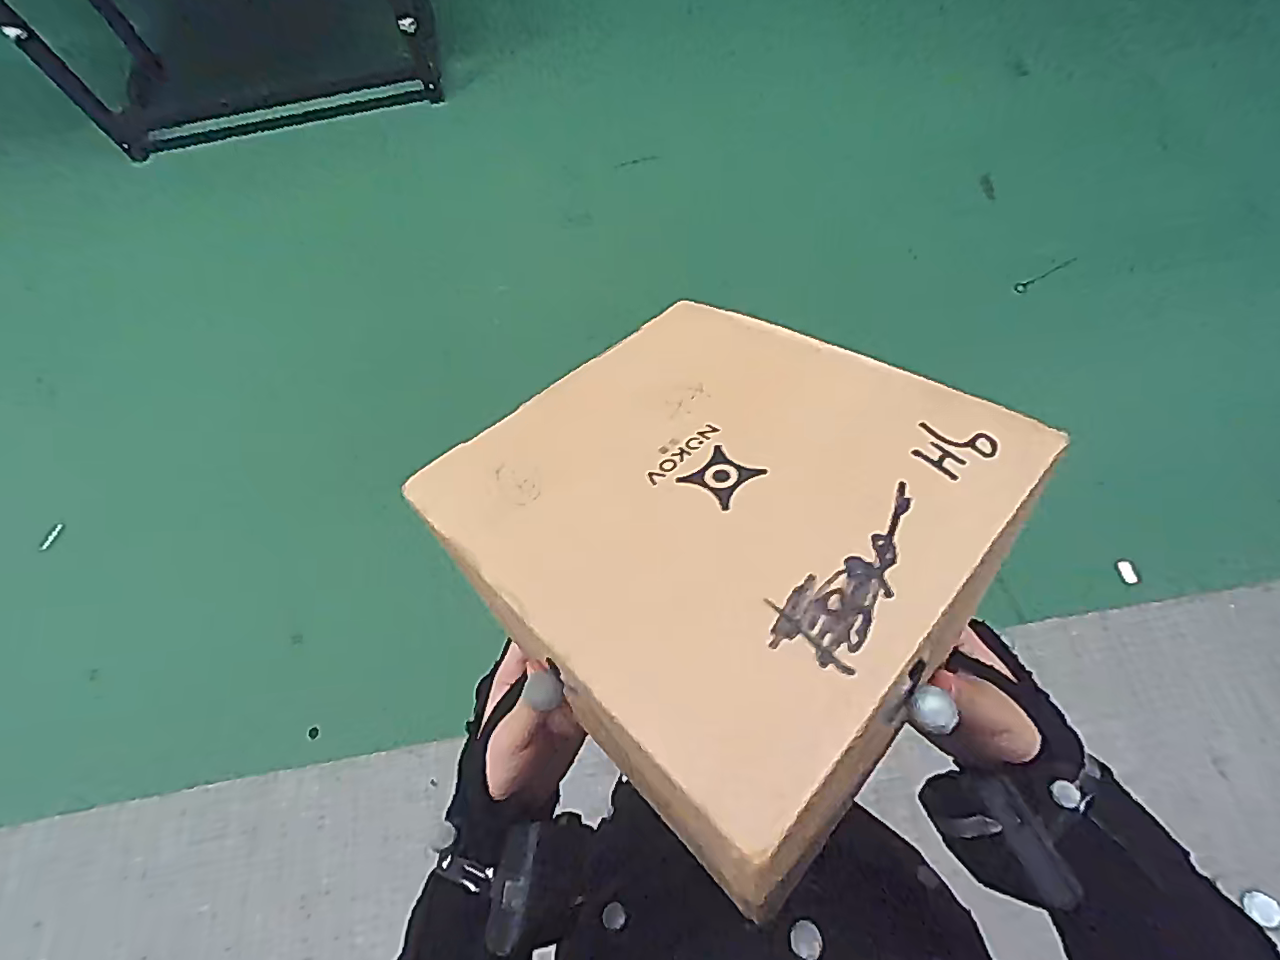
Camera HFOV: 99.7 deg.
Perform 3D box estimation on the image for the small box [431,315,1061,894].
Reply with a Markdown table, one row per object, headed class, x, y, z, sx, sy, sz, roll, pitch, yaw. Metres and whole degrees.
| class | x | y | z | sx | sy | sz | roll | pitch | yaw |
| --- | --- | --- | --- | --- | --- | --- | --- | --- | --- |
| small box | 0.042 | 0.053 | 0.259 | 0.168 | 0.176 | 0.179 | -41 | 52 | -23 |
